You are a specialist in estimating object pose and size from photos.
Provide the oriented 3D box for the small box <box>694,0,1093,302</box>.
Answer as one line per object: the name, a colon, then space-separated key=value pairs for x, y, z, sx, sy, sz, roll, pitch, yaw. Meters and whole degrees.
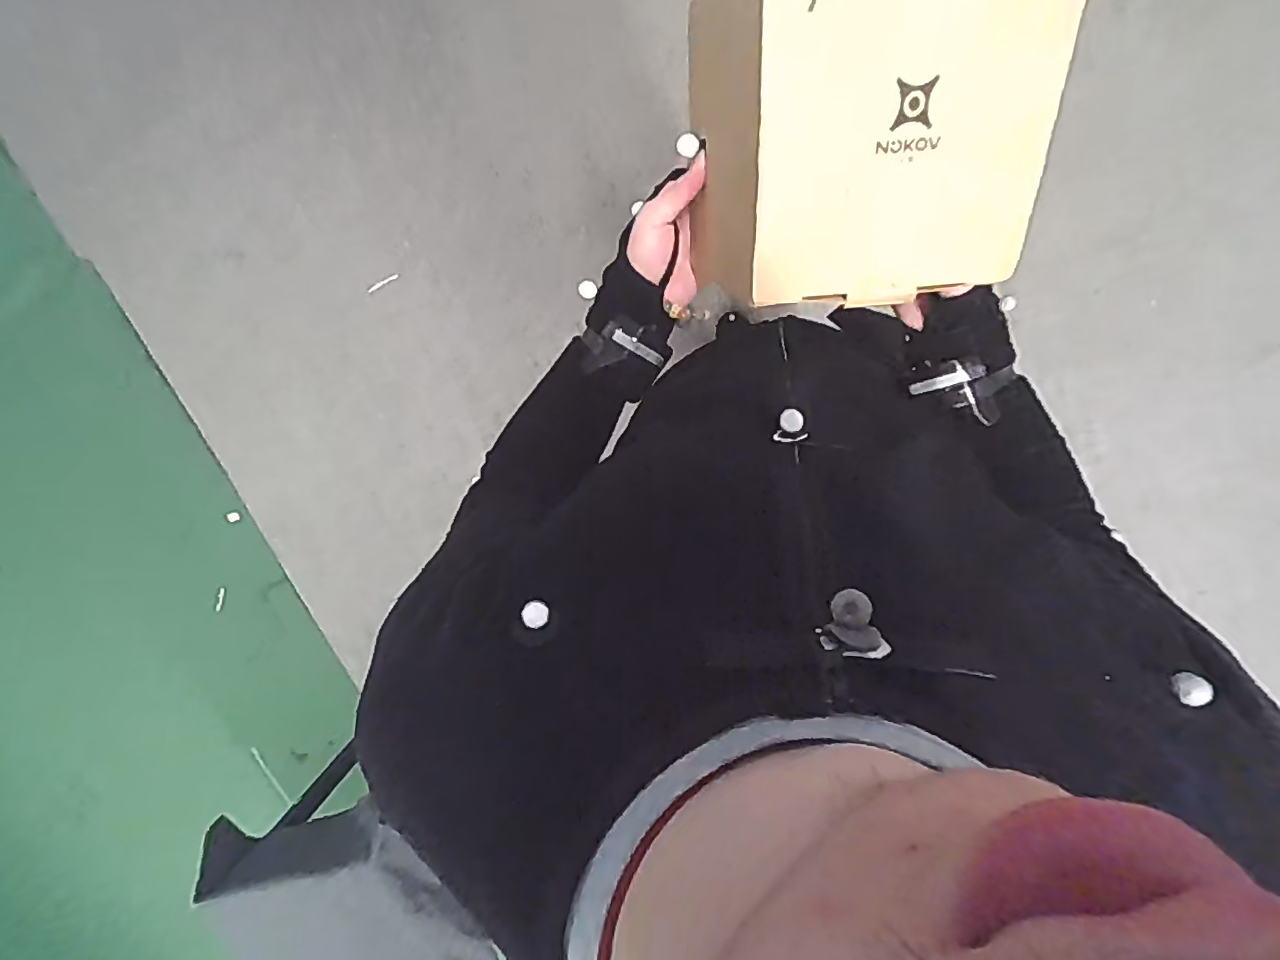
small box: x=0.133 y=-0.230 z=0.352 sx=0.168 sy=0.176 sz=0.179 roll=-7 pitch=121 yaw=-5
